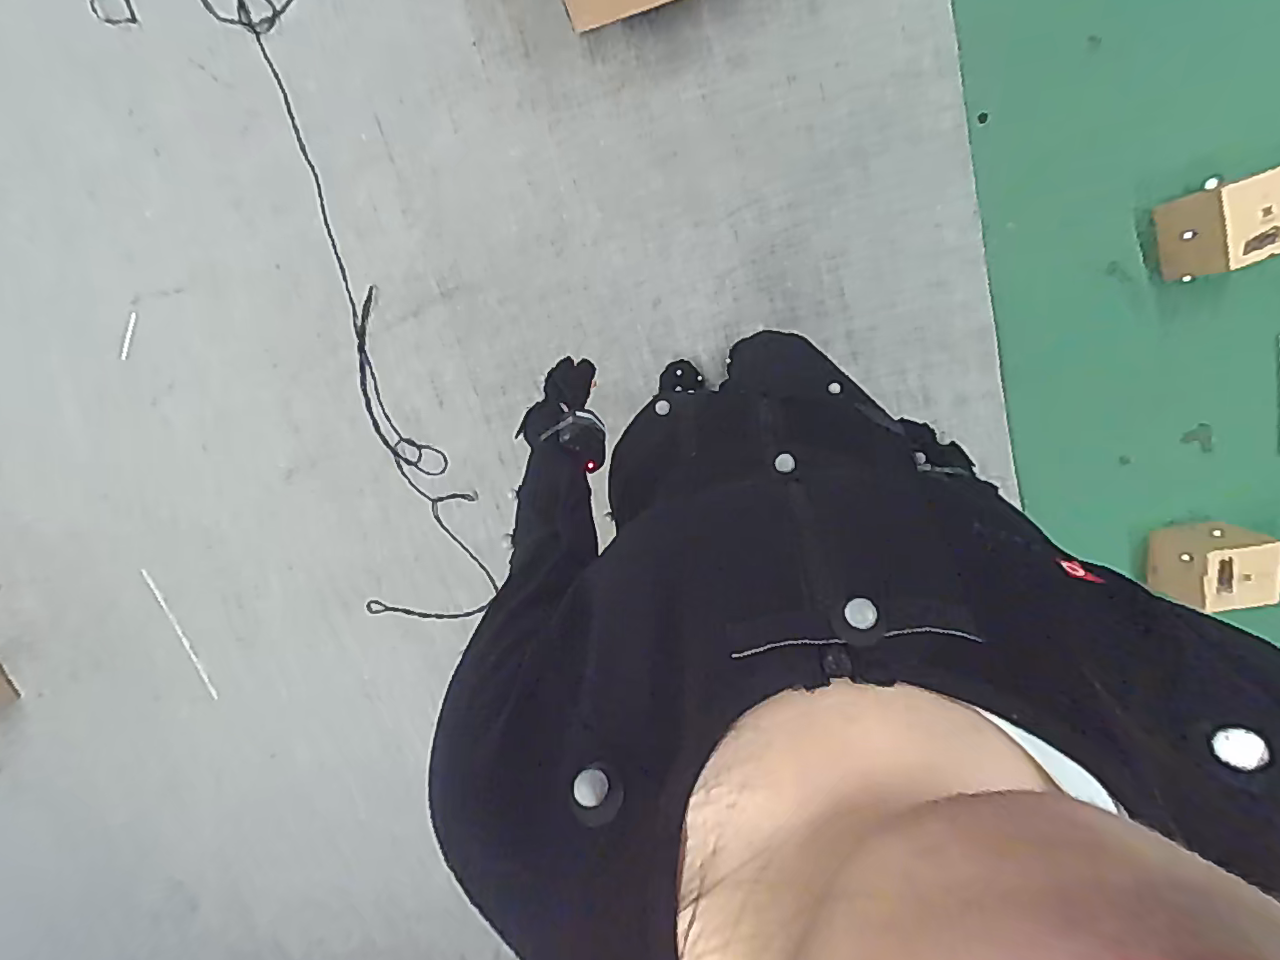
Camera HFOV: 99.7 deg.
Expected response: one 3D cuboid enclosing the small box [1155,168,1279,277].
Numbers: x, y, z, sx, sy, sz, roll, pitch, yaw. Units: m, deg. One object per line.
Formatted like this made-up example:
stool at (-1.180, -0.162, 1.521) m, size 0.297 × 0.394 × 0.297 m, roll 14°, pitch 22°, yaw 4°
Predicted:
small box at (1.306, -0.564, 1.200) m, size 0.168 × 0.176 × 0.179 m, roll -18°, pitch 101°, yaw 7°
